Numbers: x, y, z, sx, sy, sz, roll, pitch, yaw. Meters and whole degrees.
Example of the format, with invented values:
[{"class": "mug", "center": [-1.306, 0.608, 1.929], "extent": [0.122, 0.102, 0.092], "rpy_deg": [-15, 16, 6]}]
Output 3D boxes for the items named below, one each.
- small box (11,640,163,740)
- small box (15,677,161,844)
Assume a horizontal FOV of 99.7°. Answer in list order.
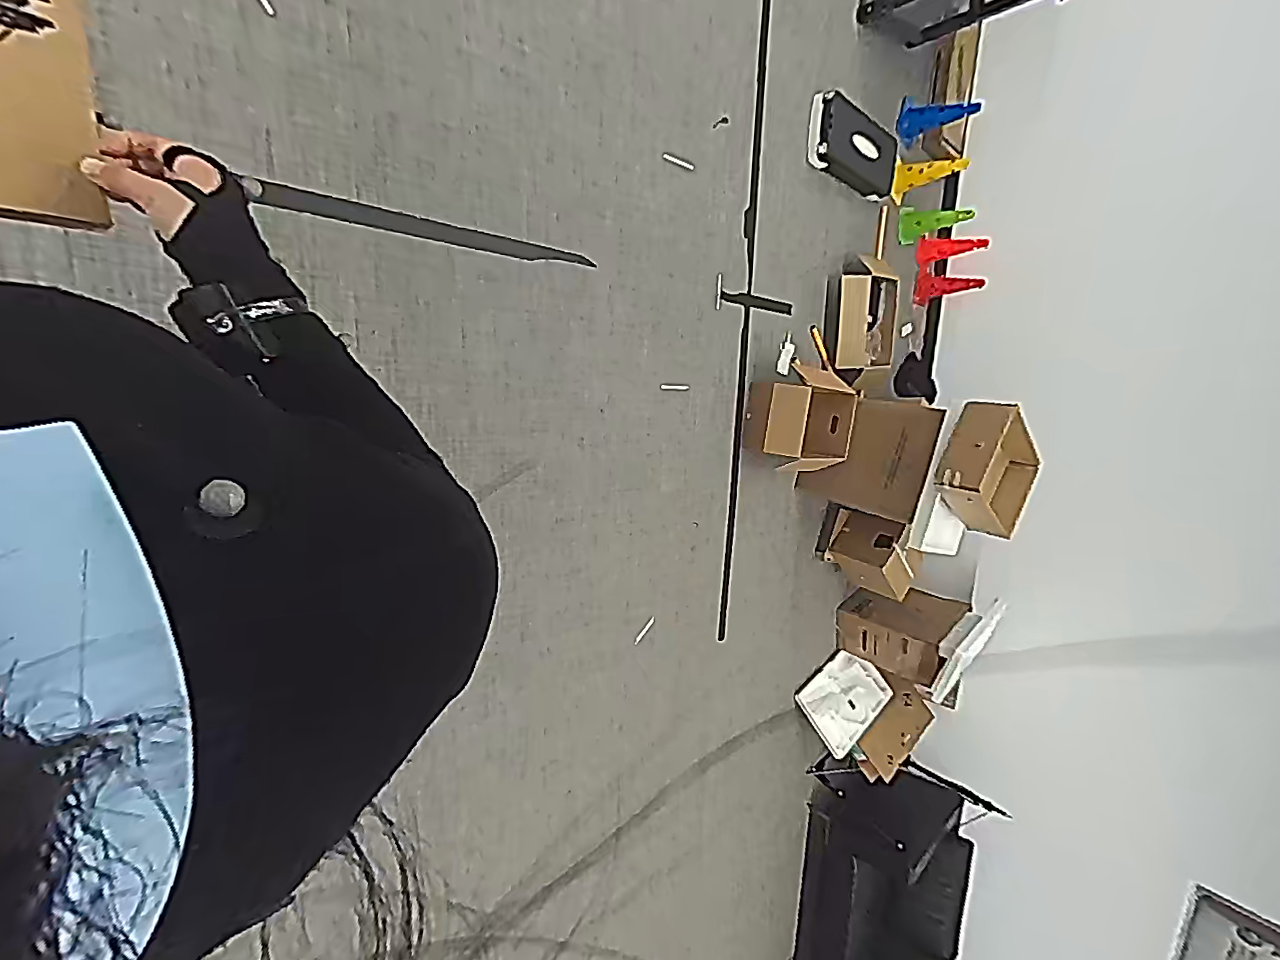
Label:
[{"class": "small box", "center": [-1.095, 0.456, 1.085], "extent": [0.168, 0.176, 0.179], "rpy_deg": [-23, 115, -39]}, {"class": "small box", "center": [-0.980, 0.490, 0.974], "extent": [0.168, 0.176, 0.179], "rpy_deg": [-7, 104, -42]}]
